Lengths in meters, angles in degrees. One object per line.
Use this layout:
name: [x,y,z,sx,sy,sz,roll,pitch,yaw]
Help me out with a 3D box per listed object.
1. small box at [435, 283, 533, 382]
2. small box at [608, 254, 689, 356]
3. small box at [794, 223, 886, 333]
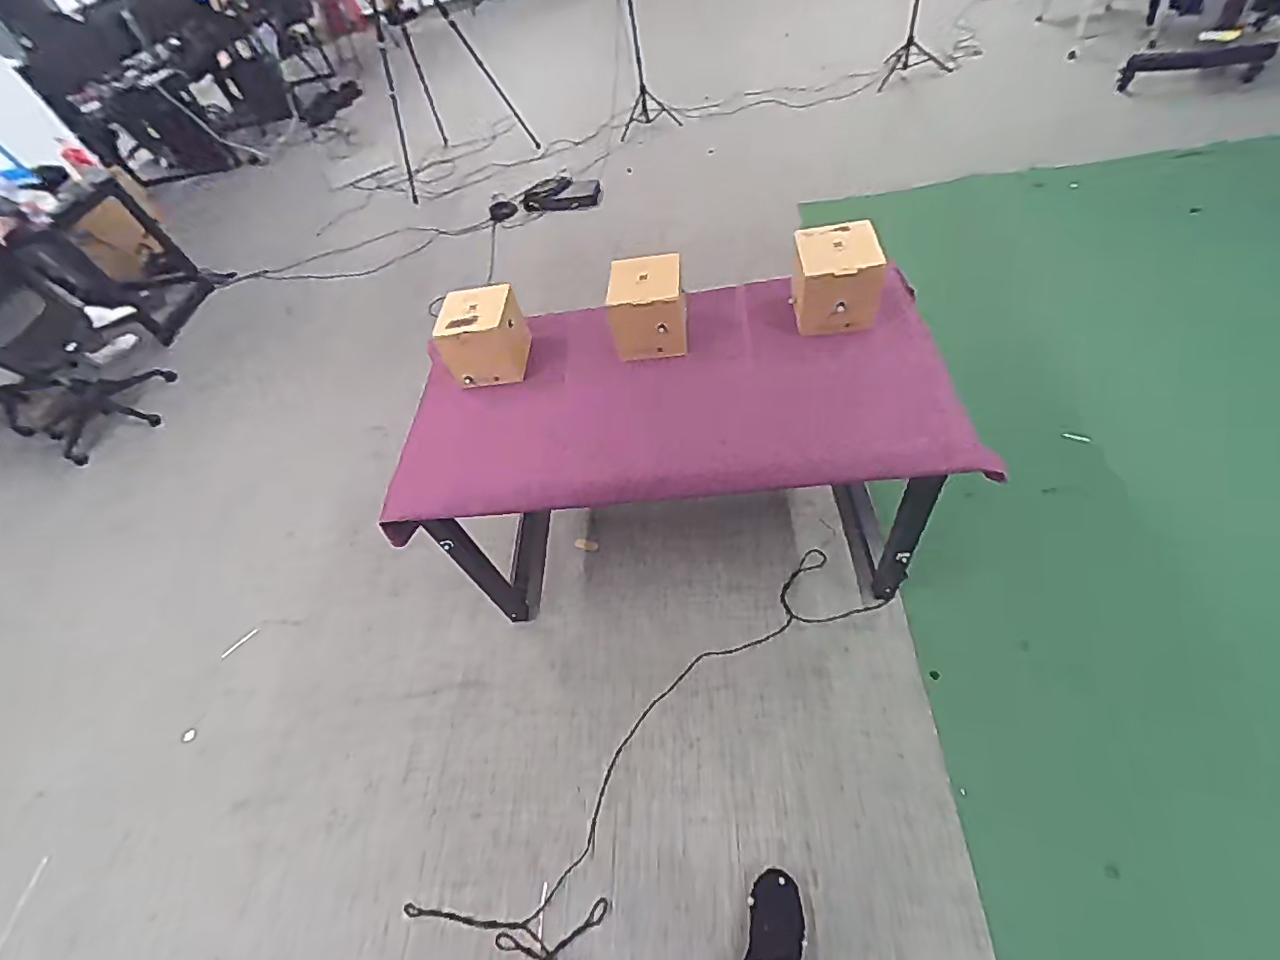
small box: [-0.378,-0.360,1.347,0.168,0.176,0.179,-4,53,8]
small box: [0.029,-0.413,1.302,0.168,0.176,0.179,-2,53,10]
small box: [0.448,-0.452,1.236,0.168,0.176,0.179,-4,56,10]
